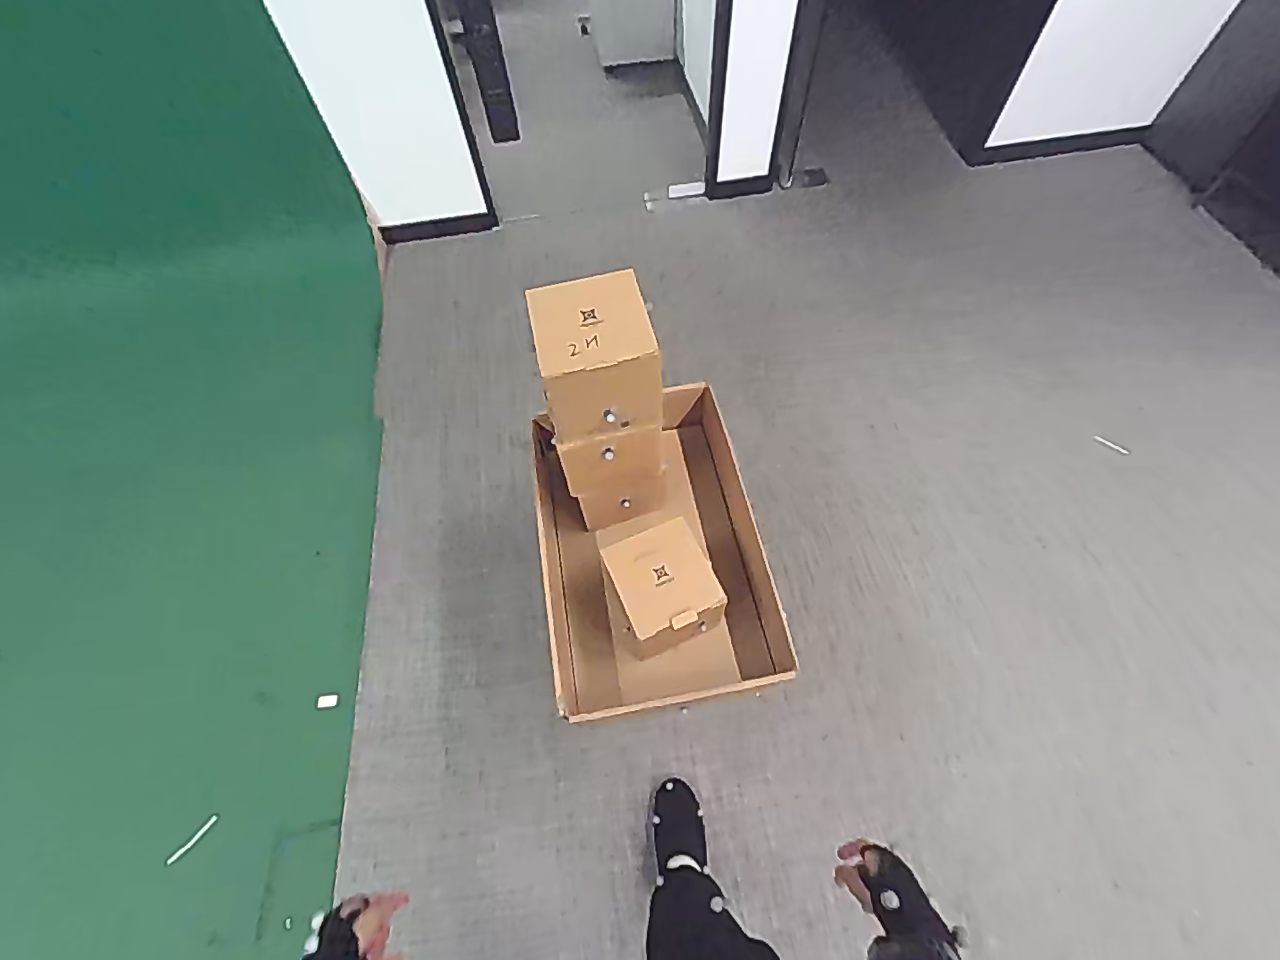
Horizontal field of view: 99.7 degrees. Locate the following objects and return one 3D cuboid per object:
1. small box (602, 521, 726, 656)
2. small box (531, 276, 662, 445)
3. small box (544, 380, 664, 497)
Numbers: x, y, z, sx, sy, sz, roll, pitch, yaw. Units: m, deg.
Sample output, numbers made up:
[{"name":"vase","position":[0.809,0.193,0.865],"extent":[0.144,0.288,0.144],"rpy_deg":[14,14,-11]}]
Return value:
[{"name":"small box","position":[0.042,0.208,0.995],"extent":[0.168,0.176,0.179],"rpy_deg":[-21,61,-10]},{"name":"small box","position":[-0.064,-0.182,0.842],"extent":[0.168,0.176,0.179],"rpy_deg":[-13,61,-3]},{"name":"small box","position":[-0.061,-0.090,0.980],"extent":[0.179,0.176,0.168],"rpy_deg":[-15,61,-4]}]
